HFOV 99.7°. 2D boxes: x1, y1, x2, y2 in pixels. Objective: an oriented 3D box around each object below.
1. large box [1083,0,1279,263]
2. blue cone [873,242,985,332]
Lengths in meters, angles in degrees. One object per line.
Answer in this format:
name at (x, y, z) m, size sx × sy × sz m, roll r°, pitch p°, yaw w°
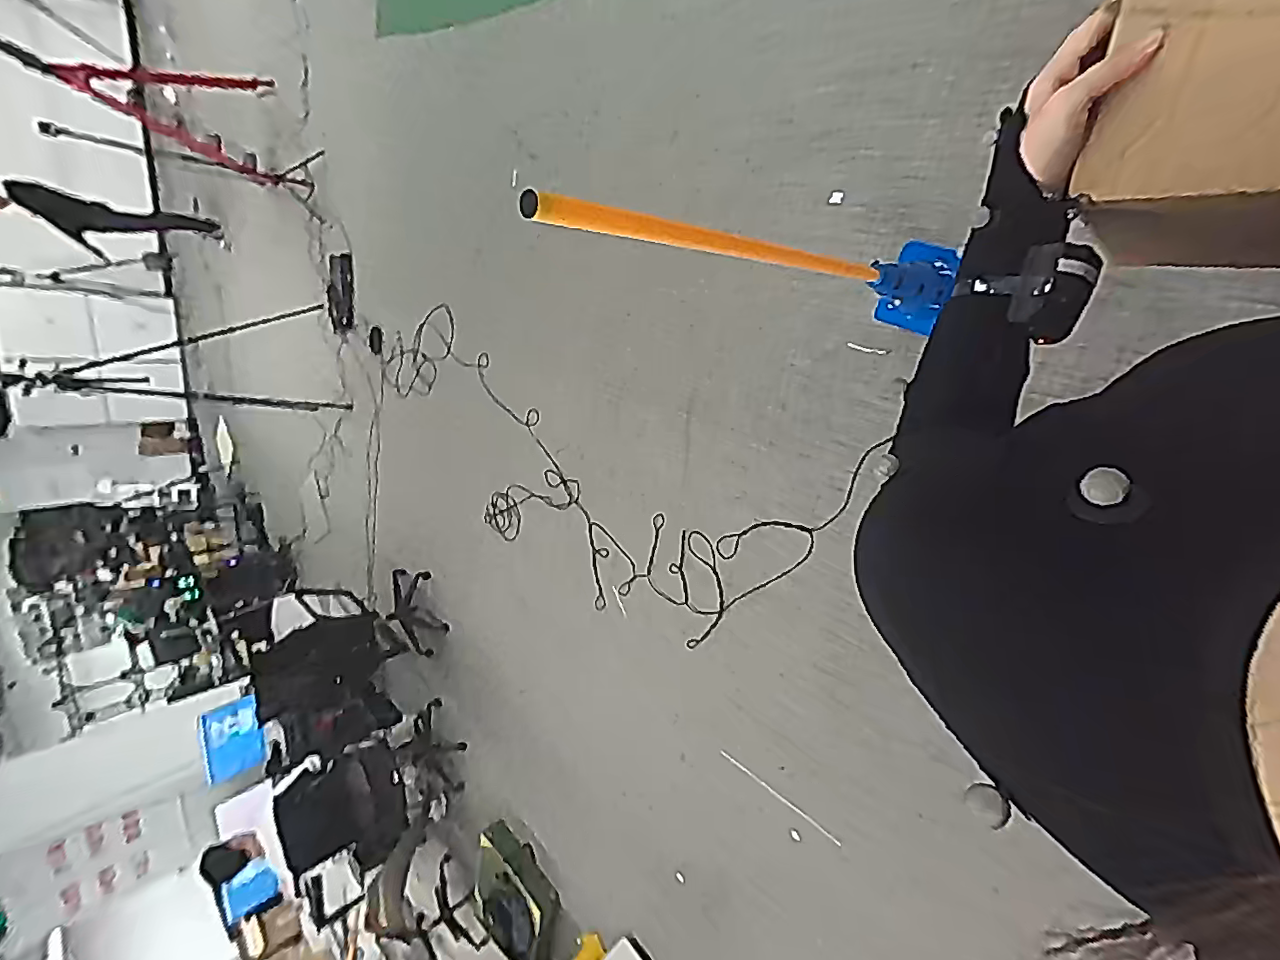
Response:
large box at (0.583, -0.331, 0.340) m, size 0.408 × 0.320 × 0.320 m, roll 19°, pitch 110°, yaw 41°
blue cone at (0.605, -0.453, 1.216) m, size 0.193 × 0.380 × 0.192 m, roll 36°, pitch 121°, yaw 32°
